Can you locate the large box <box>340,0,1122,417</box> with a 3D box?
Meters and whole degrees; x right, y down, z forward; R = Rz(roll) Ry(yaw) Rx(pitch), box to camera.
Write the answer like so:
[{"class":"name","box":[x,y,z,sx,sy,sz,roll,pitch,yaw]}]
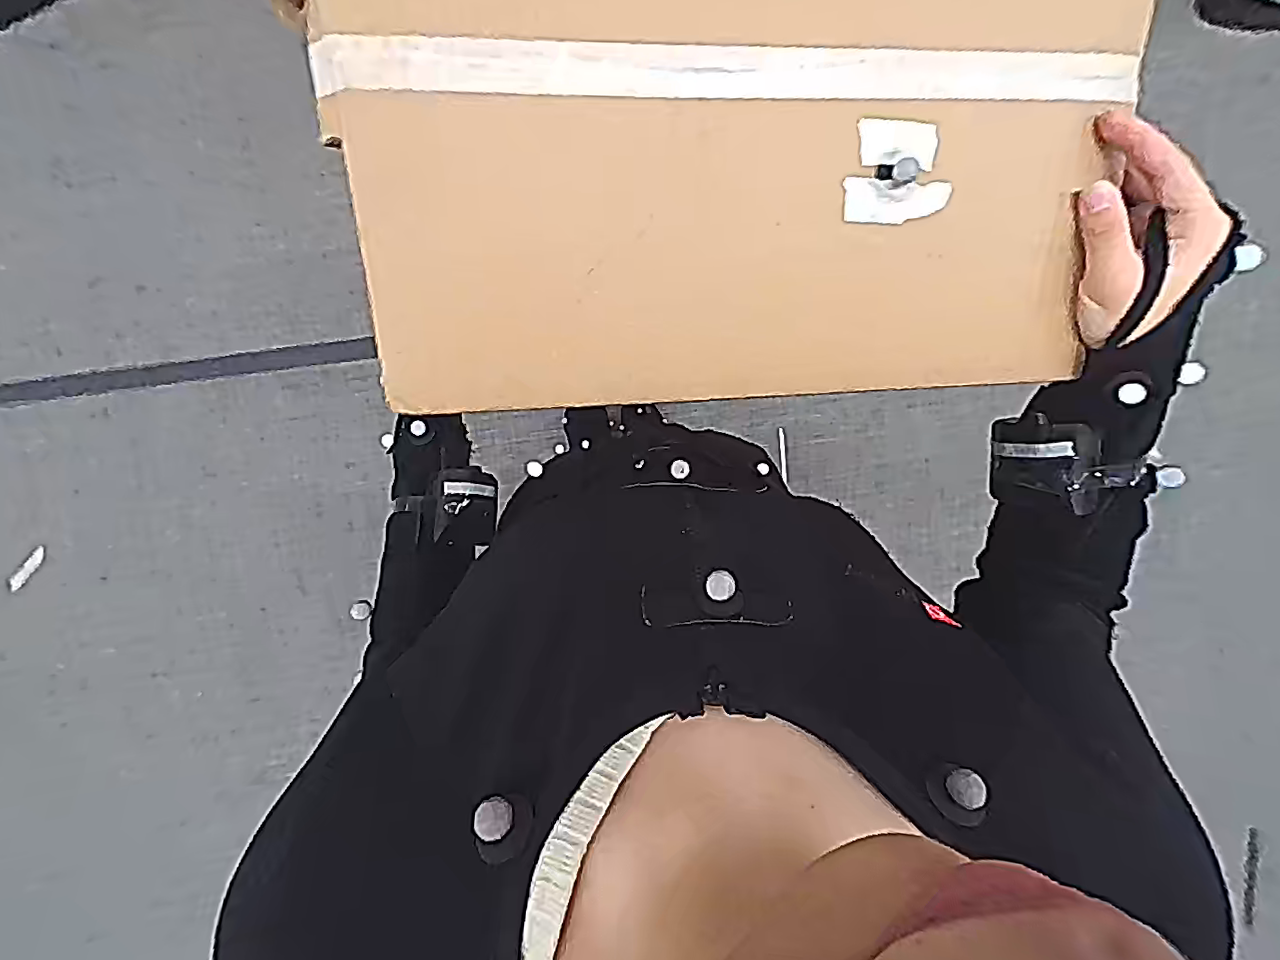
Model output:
[{"class":"large box","box":[0.038,-0.237,0.419,0.408,0.320,0.320,-5,107,-8]}]
